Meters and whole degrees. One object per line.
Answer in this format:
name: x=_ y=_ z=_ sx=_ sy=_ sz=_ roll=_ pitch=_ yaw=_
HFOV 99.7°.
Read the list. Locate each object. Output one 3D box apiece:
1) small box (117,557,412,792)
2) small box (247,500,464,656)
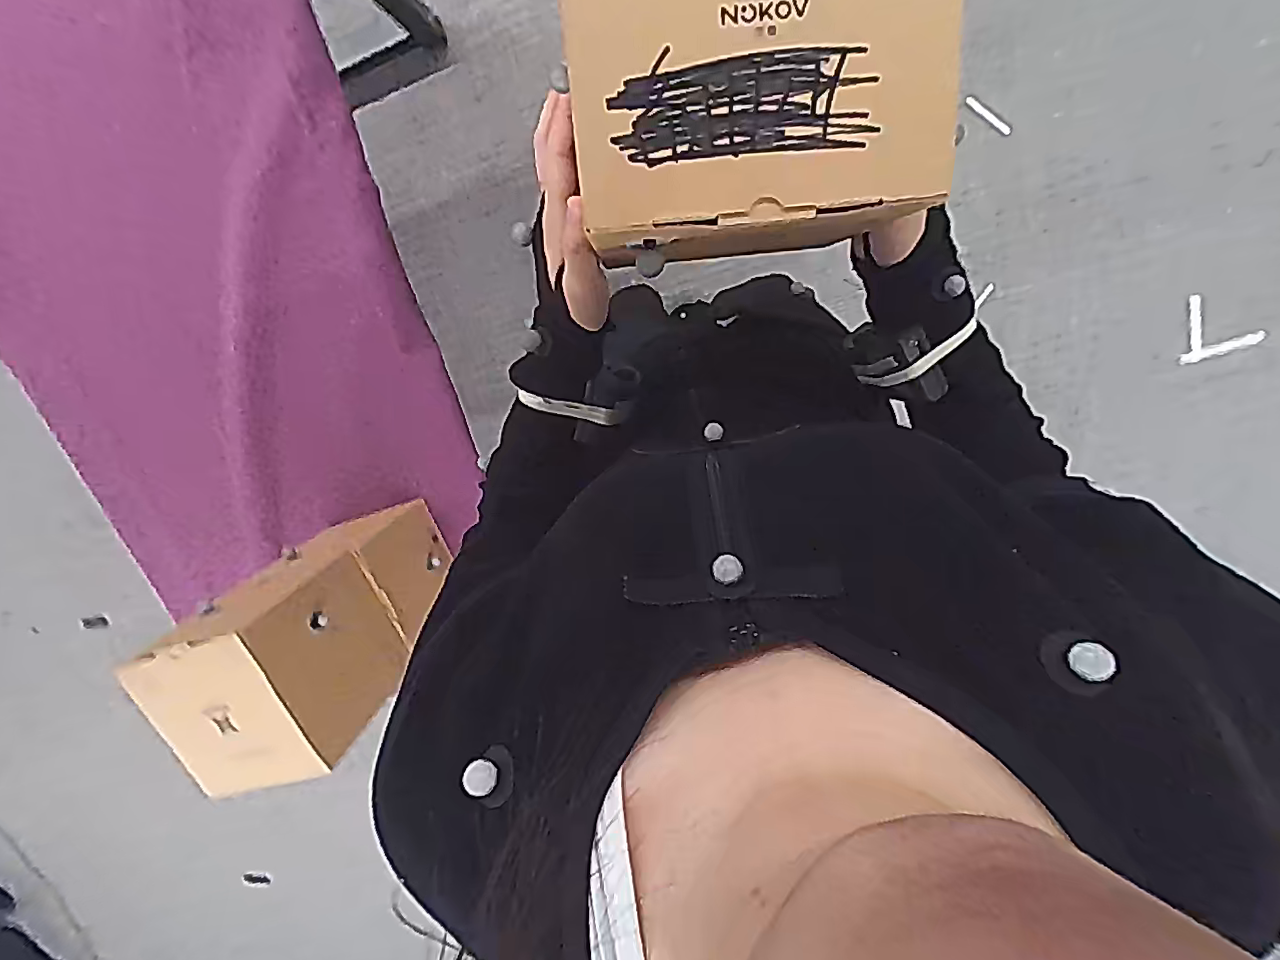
small box: x=-0.399 y=0.205 z=0.610 sx=0.168 sy=0.176 sz=0.179 roll=-18 pitch=108 yaw=14
small box: x=-0.383 y=0.149 z=0.761 sx=0.179 sy=0.176 sz=0.168 roll=-17 pitch=107 yaw=11
